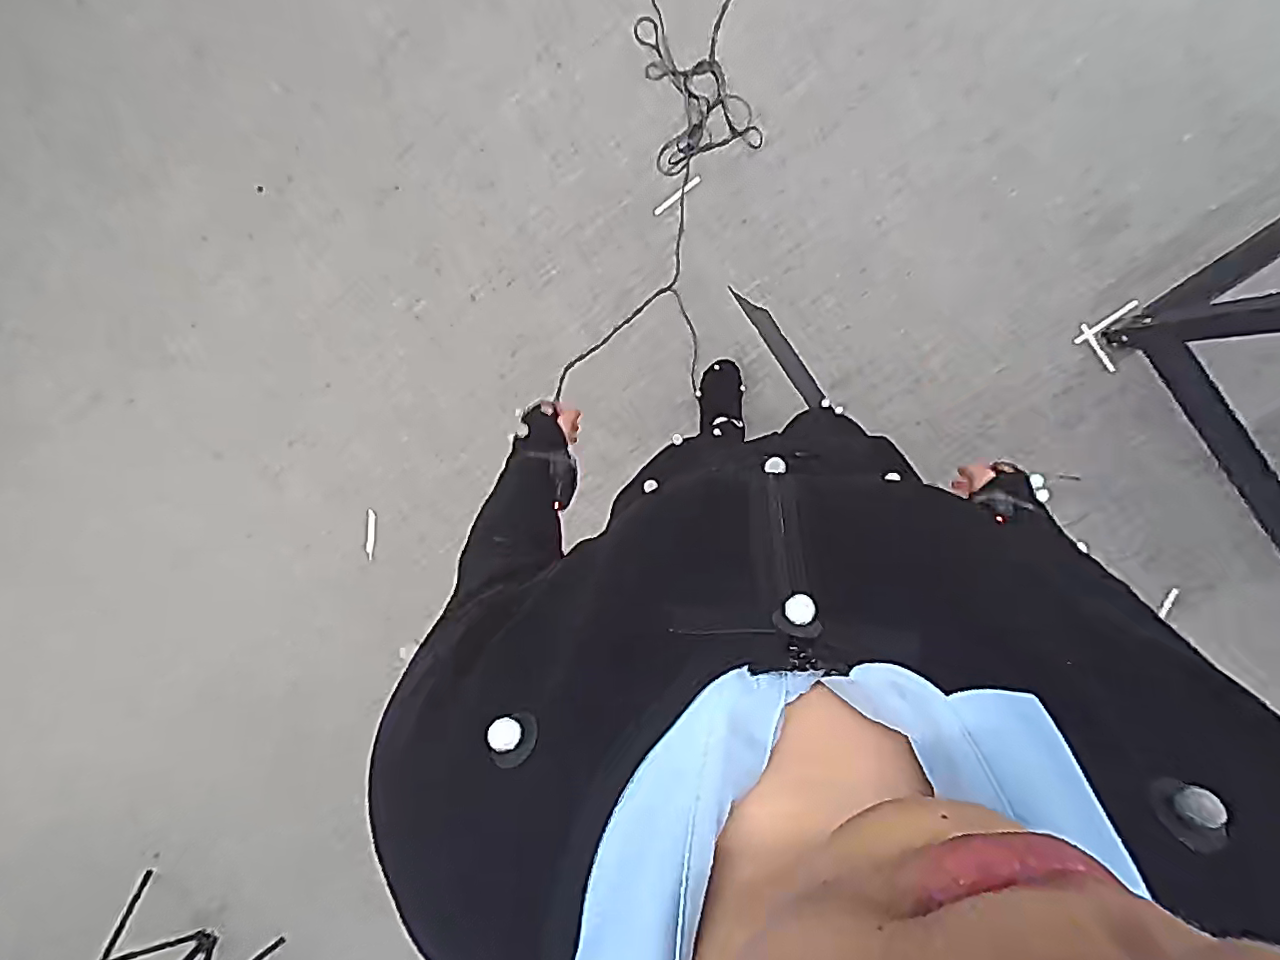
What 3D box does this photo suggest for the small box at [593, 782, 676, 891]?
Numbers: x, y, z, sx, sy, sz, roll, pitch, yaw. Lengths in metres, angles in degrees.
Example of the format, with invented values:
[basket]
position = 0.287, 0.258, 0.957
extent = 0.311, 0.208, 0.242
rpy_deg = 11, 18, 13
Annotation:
[small box]
position = -0.007, 1.025, 1.571
extent = 0.179, 0.176, 0.168
rpy_deg = -38, 91, 13
